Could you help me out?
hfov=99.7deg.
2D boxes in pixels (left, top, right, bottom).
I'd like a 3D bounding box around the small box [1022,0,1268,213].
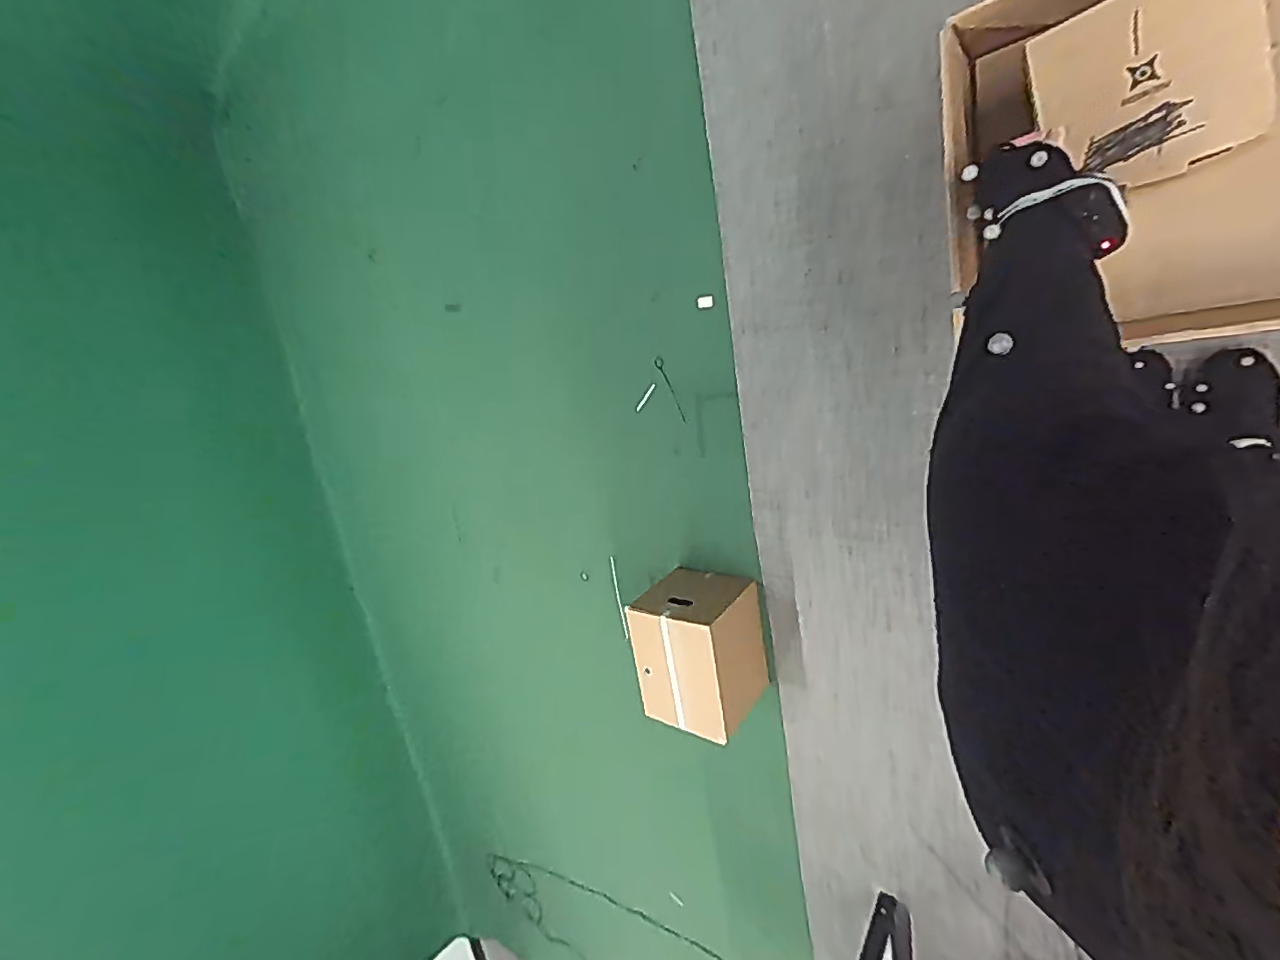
[{"bbox_3d":[0.533,-0.410,0.589,0.168,0.176,0.179,-10,100,39],"label":"small box"}]
